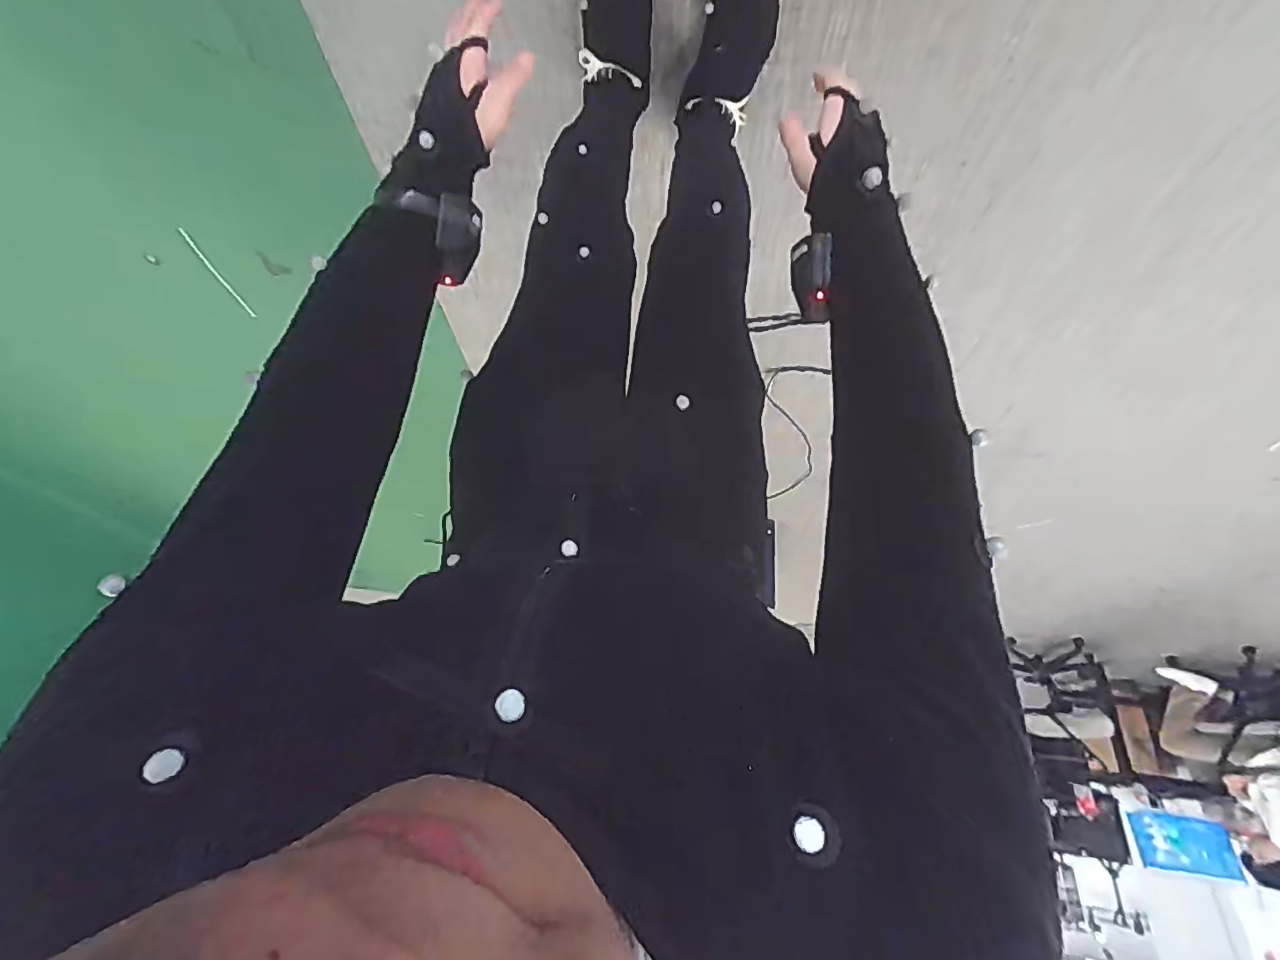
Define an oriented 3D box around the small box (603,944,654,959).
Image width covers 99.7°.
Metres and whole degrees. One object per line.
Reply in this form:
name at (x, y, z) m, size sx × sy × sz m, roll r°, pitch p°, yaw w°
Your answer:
small box at (-0.045, 1.692, 1.809) m, size 0.179 × 0.176 × 0.168 m, roll 7°, pitch 152°, yaw 4°
